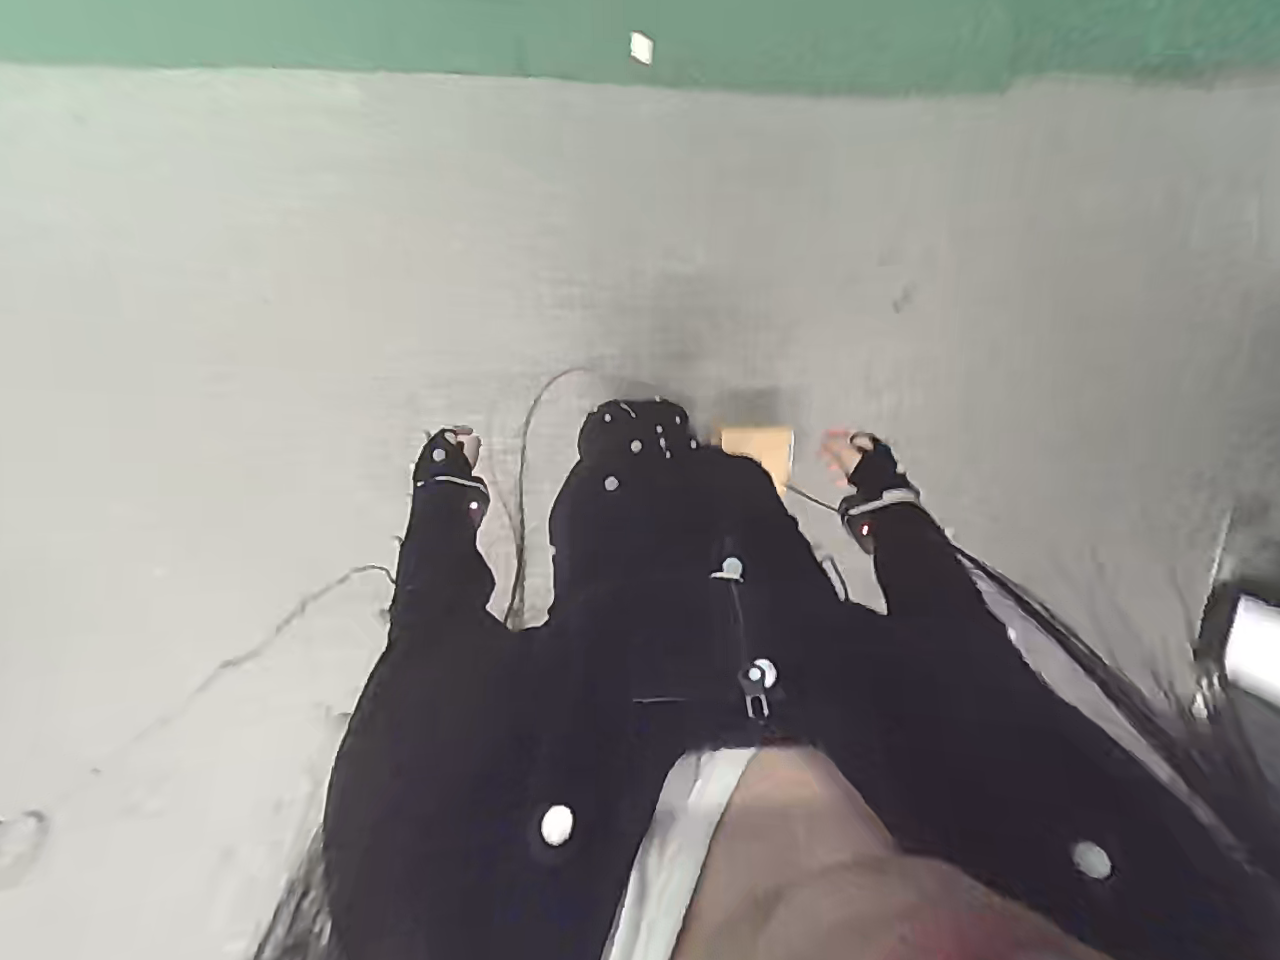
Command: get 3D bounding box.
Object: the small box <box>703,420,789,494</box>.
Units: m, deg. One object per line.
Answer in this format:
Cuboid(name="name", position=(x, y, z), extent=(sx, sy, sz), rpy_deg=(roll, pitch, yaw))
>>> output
Cuboid(name="small box", position=(0.273, -0.064, 1.421), extent=(0.179, 0.176, 0.168), rpy_deg=(0, 104, -5))
